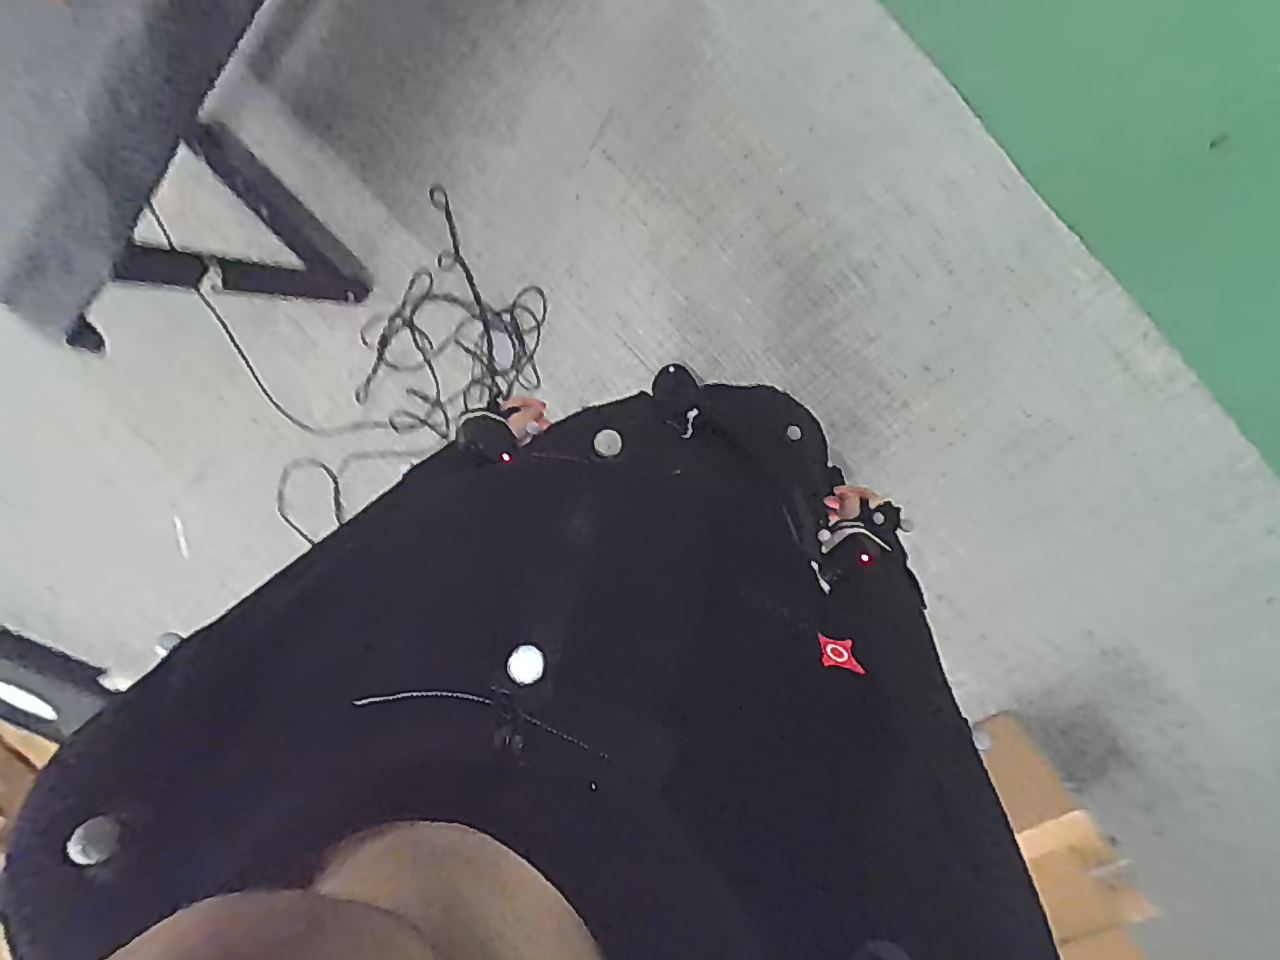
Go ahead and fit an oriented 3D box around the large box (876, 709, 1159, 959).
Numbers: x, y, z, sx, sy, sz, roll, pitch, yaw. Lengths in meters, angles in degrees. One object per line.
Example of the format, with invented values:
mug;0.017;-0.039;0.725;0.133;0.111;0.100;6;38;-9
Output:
large box;0.866;0.845;1.307;0.408;0.320;0.320;-37;95;17

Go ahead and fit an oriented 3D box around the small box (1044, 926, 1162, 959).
small box;0.835;0.902;0.901;0.179;0.176;0.168;-39;96;17
